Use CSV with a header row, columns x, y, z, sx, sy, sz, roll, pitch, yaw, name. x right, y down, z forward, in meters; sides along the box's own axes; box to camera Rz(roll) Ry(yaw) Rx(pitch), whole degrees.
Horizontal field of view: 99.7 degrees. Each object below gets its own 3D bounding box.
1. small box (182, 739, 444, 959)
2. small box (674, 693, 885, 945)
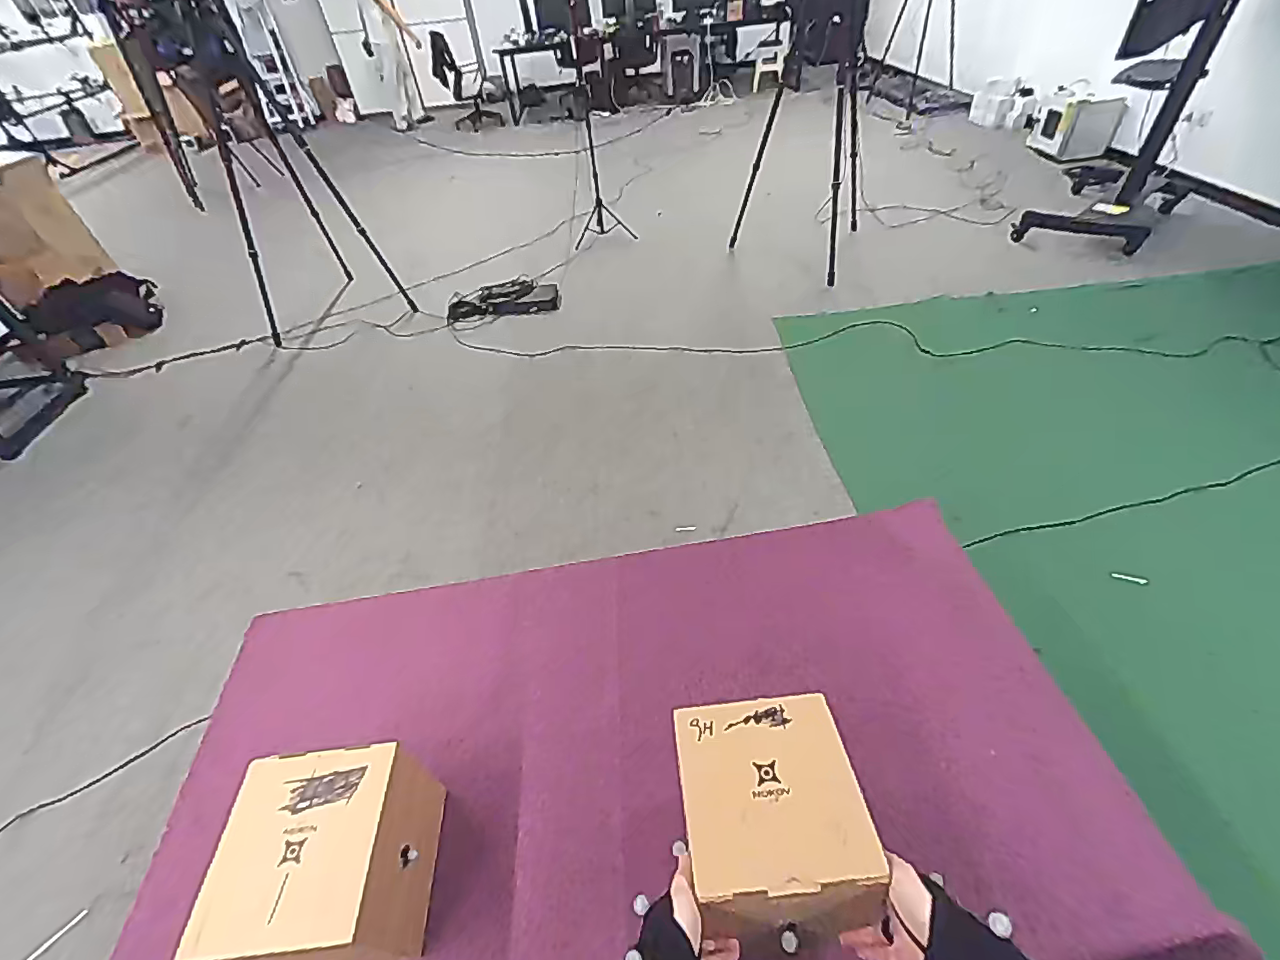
x,y,z,sx,sy,sz,roll,pitch,yaw,name
-0.333,0.415,0.601,0.168,0.176,0.179,-7,46,0,small box
0.130,0.355,0.565,0.168,0.176,0.179,-6,36,0,small box
